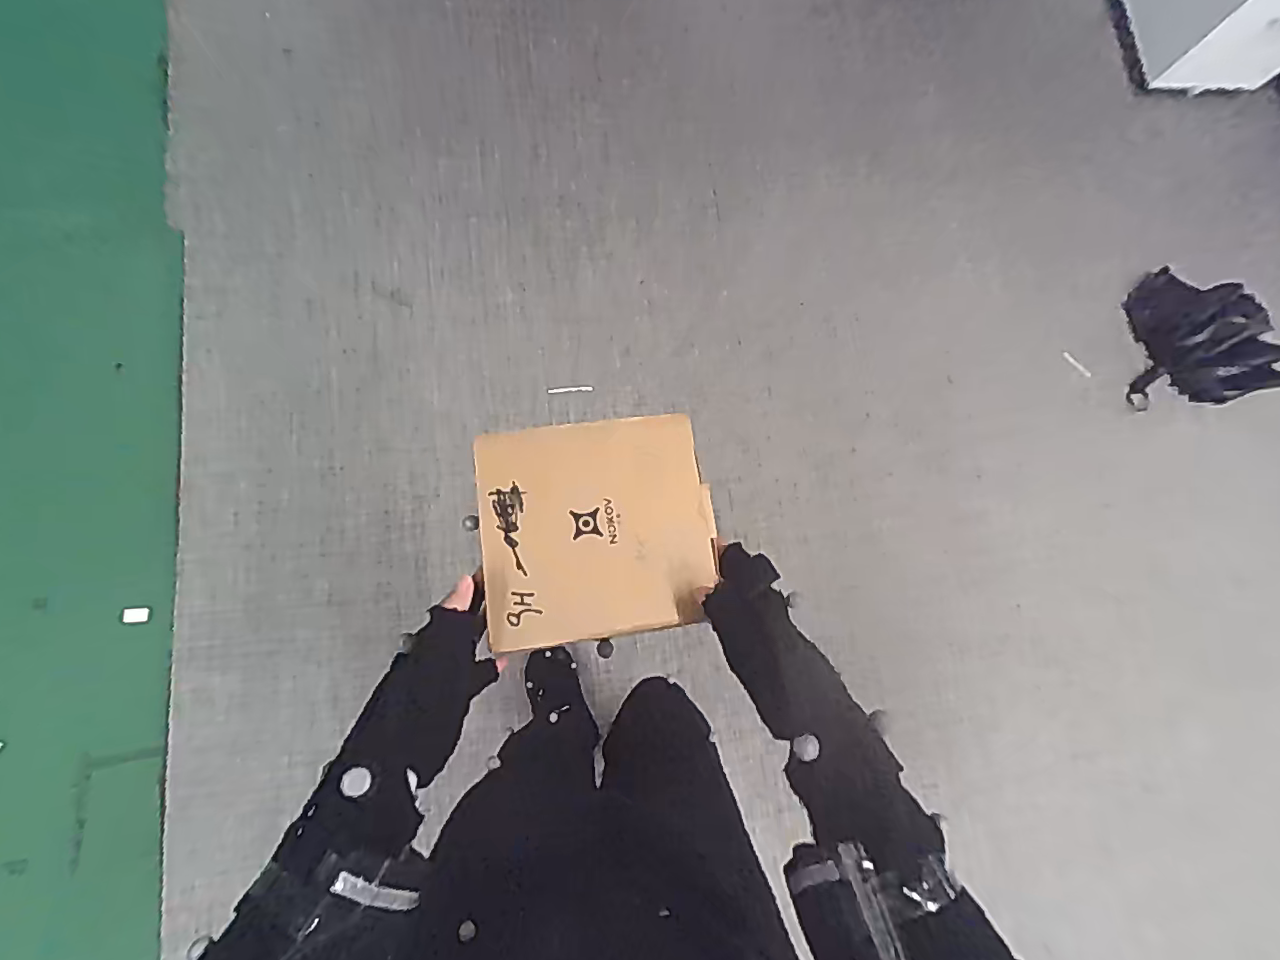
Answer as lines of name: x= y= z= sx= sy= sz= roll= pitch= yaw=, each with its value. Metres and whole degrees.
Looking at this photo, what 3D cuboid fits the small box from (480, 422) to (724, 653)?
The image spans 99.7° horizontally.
small box: x=-0.042 y=0.060 z=0.494 sx=0.179 sy=0.176 sz=0.168 roll=-6 pitch=73 yaw=-10
